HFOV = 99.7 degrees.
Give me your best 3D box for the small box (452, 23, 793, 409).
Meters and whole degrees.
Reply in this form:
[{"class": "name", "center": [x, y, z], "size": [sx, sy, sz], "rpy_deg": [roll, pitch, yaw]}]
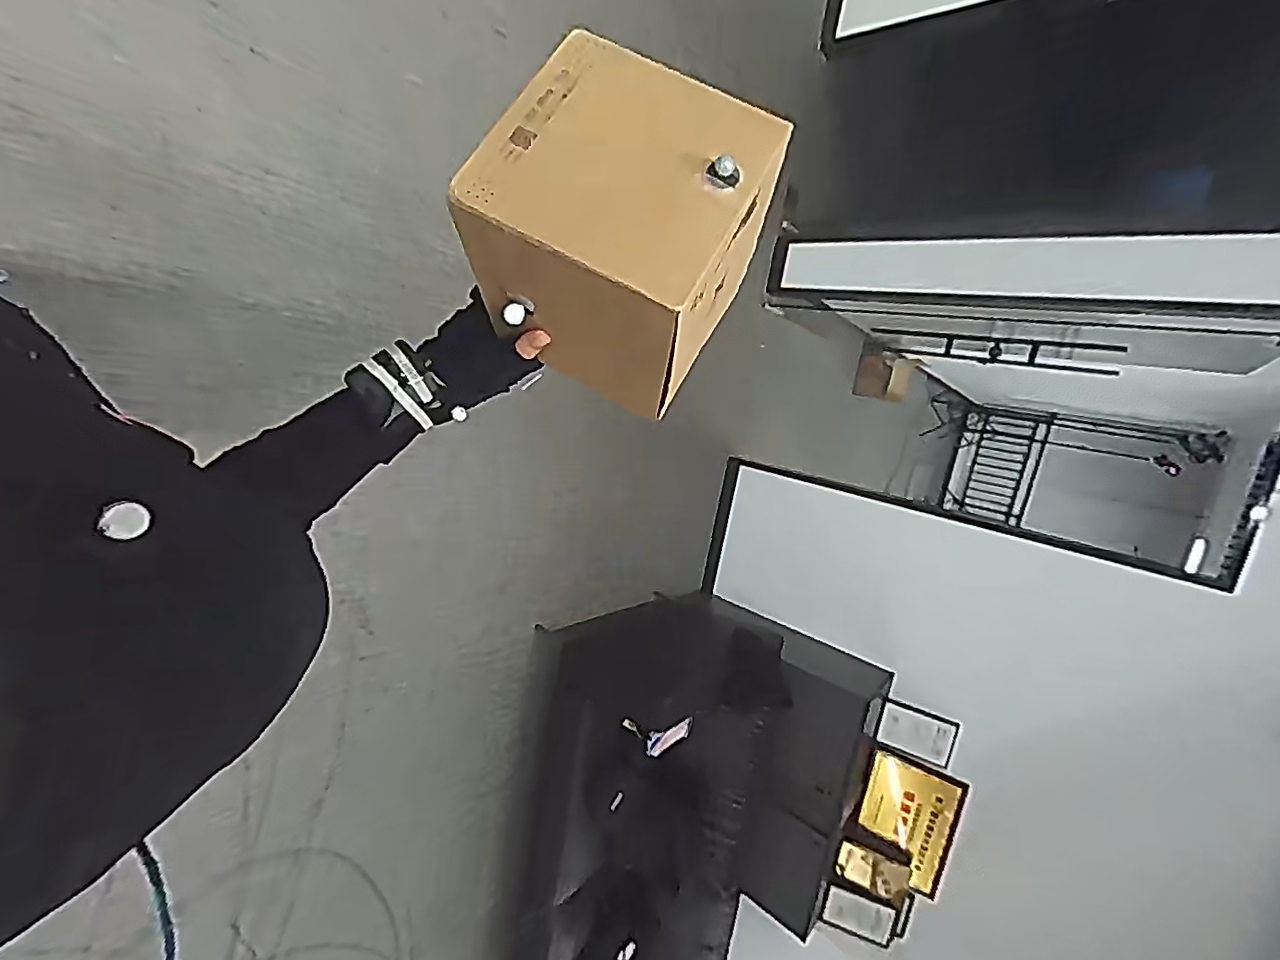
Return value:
[{"class": "small box", "center": [-0.015, -0.188, 0.420], "size": [0.168, 0.176, 0.179], "rpy_deg": [-62, 176, -15]}]
